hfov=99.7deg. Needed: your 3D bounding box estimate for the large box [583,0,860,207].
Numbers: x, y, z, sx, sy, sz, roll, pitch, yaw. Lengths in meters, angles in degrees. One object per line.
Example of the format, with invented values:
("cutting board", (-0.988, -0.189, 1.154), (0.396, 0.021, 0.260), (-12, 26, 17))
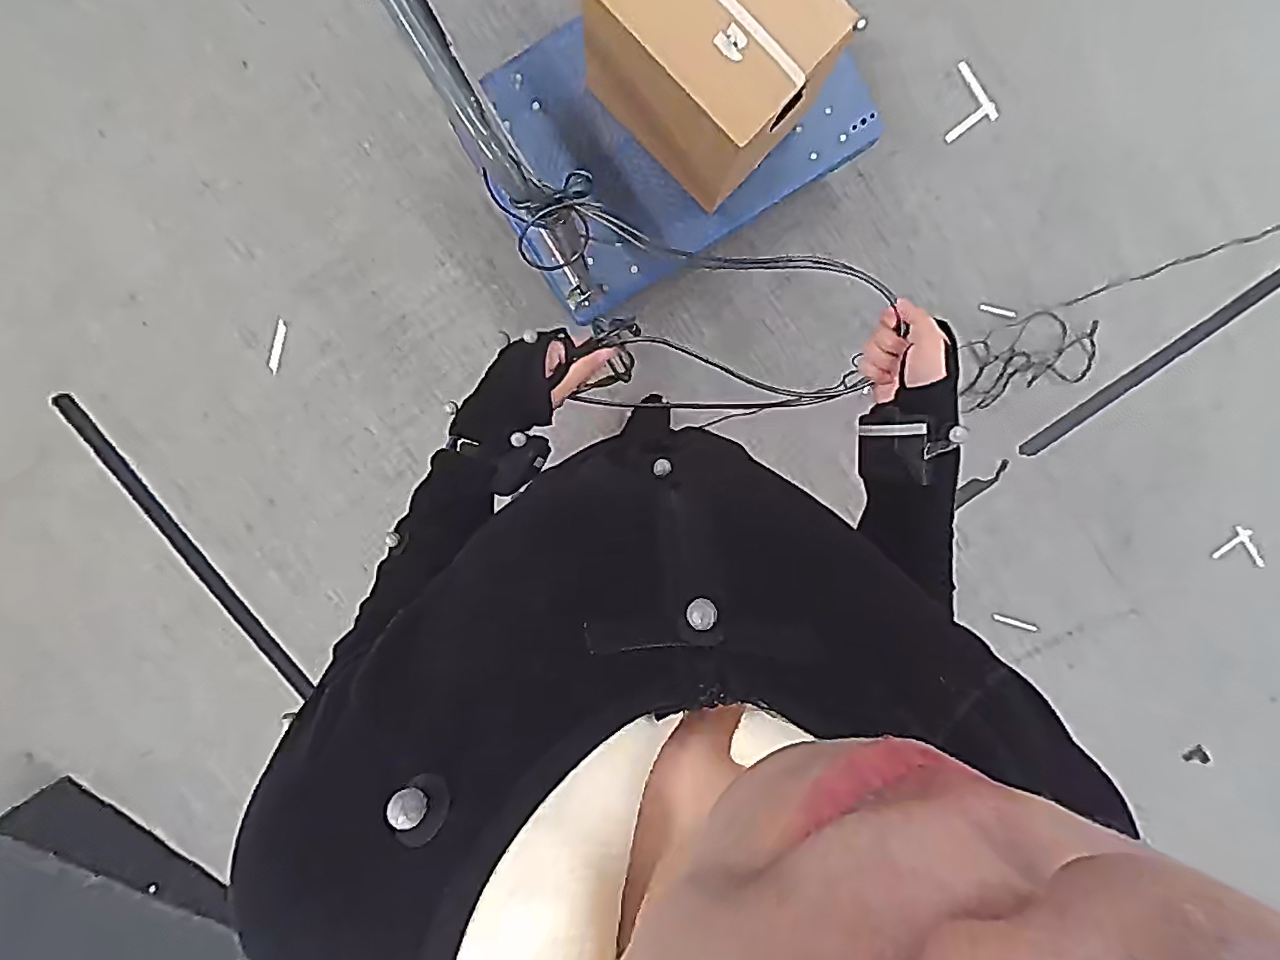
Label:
("large box", (0.134, -0.856, 1.086), (0.408, 0.320, 0.320), (43, 93, -7))
